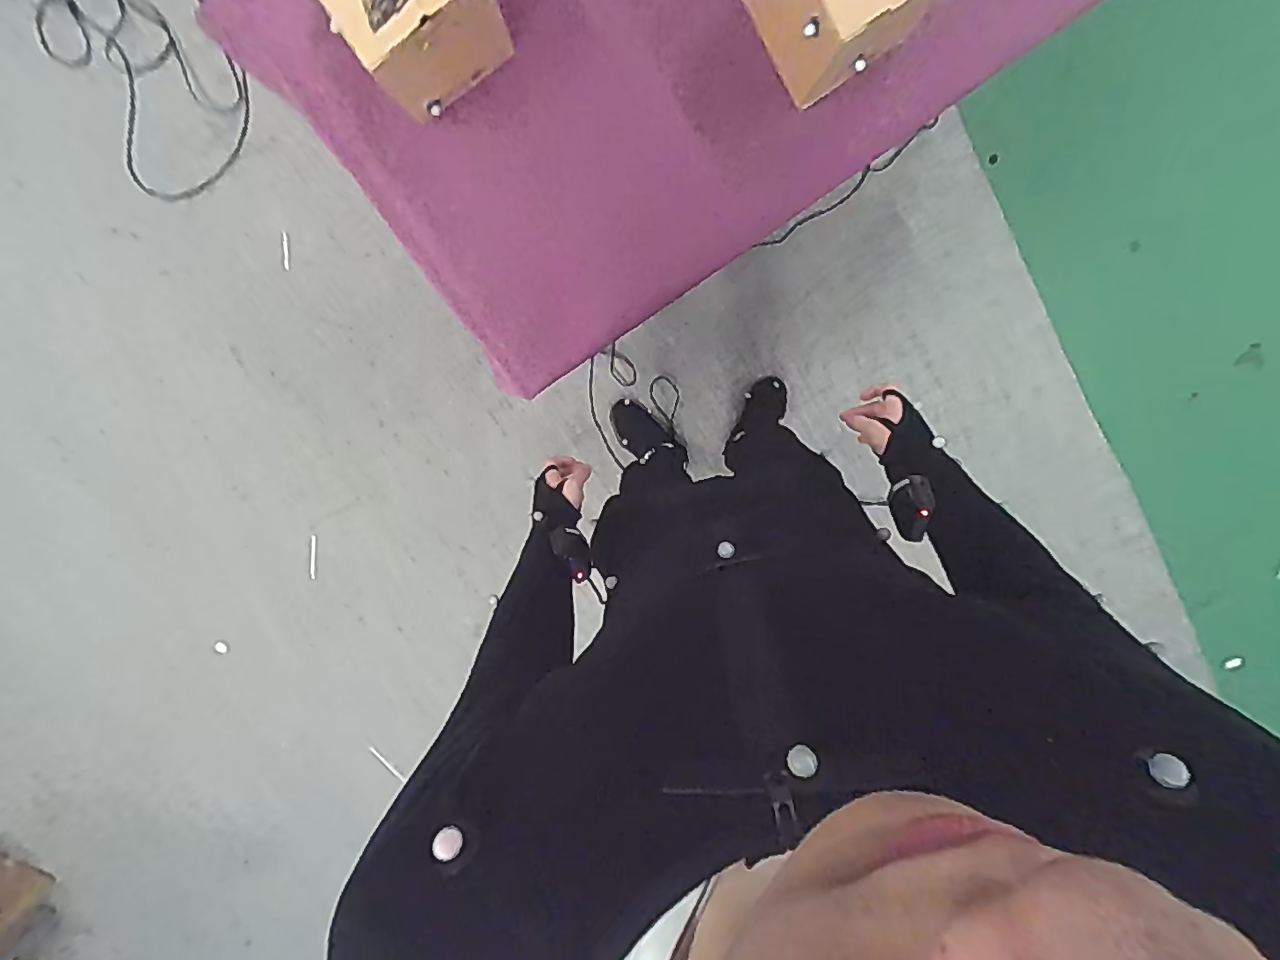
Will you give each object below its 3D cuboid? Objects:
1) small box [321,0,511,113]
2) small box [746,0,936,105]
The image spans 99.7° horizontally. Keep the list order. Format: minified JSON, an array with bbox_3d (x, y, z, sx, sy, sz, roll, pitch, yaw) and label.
[{"bbox_3d":[-0.278,-0.581,0.646,0.168,0.176,0.179,-33,103,6],"label":"small box"},{"bbox_3d":[0.245,-0.610,0.651,0.168,0.176,0.179,-32,101,6],"label":"small box"}]
